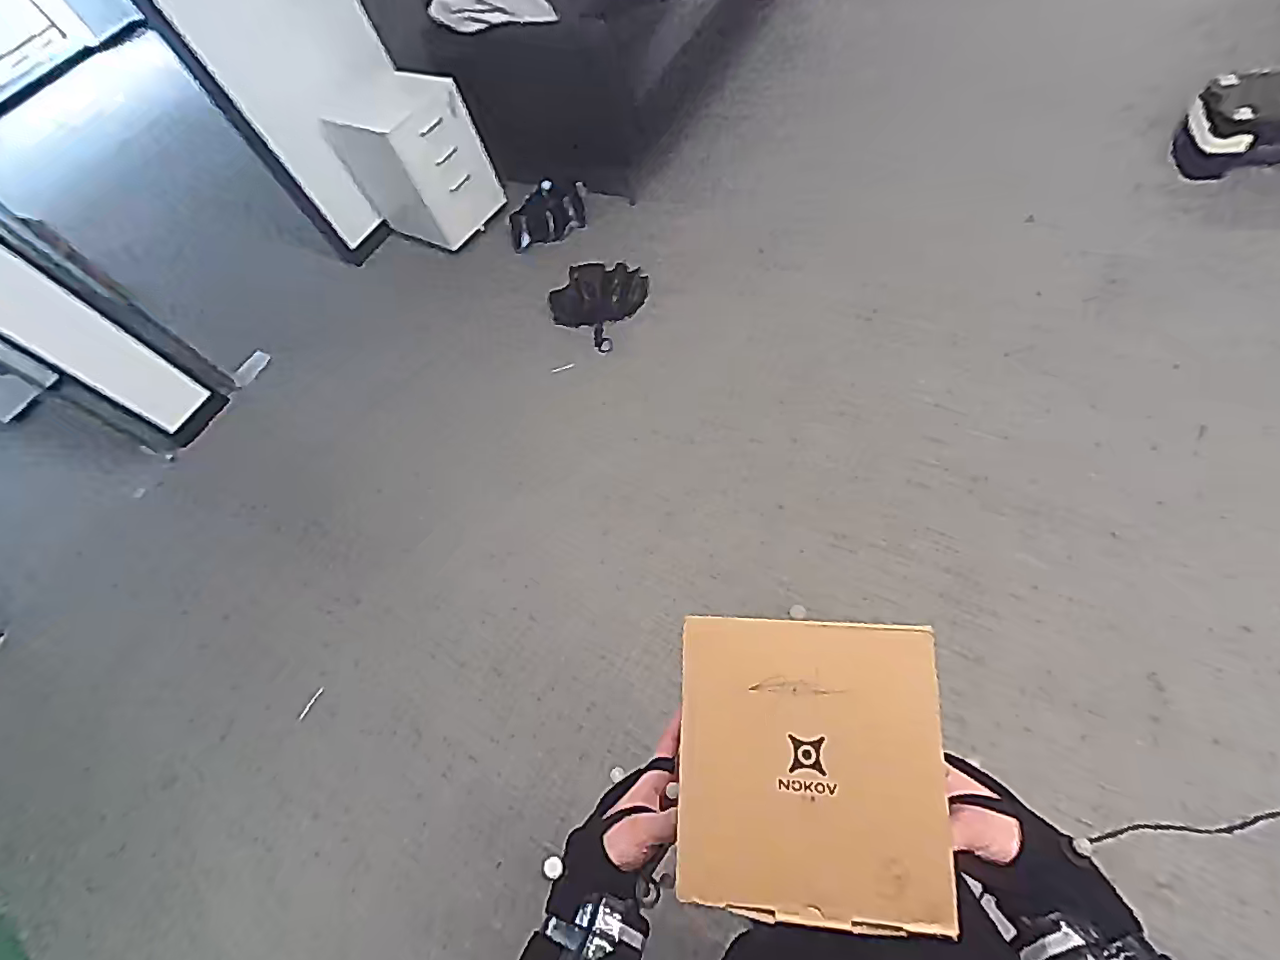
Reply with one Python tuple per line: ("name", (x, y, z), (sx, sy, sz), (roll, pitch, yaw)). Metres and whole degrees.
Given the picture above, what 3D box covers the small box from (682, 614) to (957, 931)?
("small box", (0.124, 0.204, 0.429), (0.168, 0.176, 0.179), (1, 73, 8))
